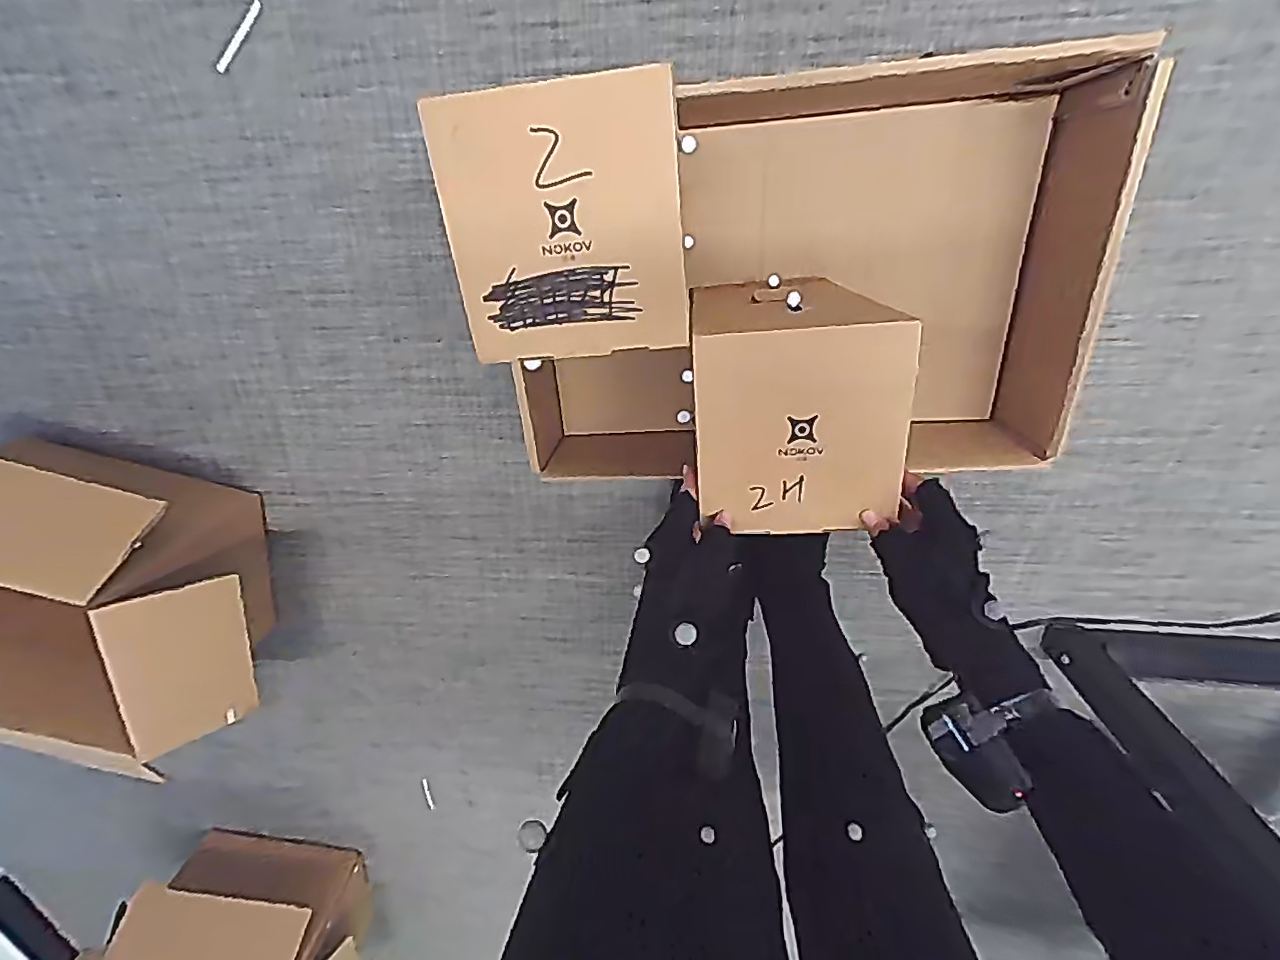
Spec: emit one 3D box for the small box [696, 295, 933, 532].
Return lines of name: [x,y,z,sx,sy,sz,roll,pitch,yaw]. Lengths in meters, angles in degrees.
small box: [0.137,-0.070,0.494,0.168,0.176,0.179,-2,116,6]
